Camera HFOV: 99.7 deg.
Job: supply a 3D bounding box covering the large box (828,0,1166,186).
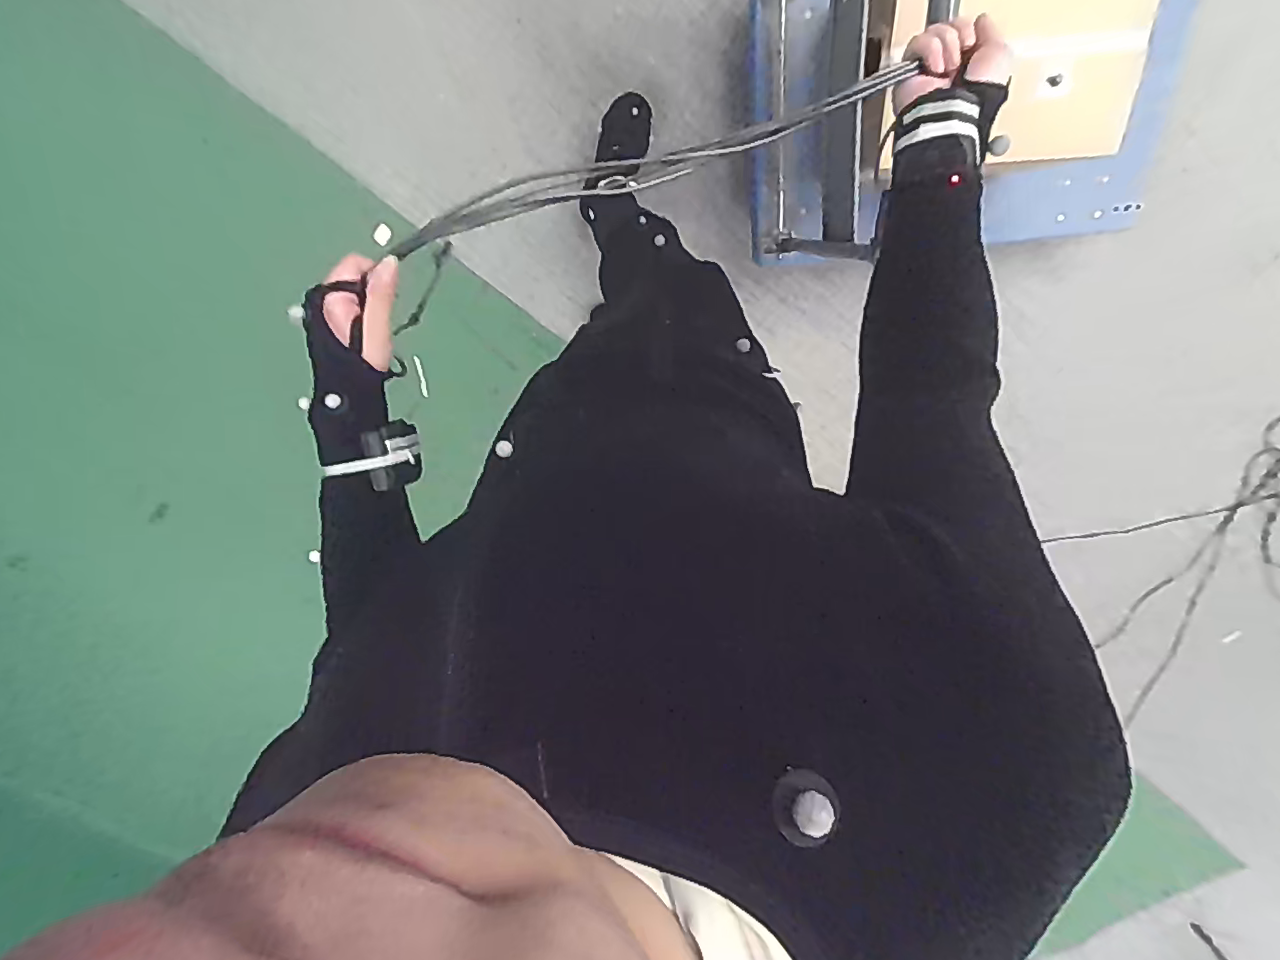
[{"bbox_3d":[0.593,-0.729,0.977,0.408,0.320,0.320,-3,116,1],"label":"large box"}]
